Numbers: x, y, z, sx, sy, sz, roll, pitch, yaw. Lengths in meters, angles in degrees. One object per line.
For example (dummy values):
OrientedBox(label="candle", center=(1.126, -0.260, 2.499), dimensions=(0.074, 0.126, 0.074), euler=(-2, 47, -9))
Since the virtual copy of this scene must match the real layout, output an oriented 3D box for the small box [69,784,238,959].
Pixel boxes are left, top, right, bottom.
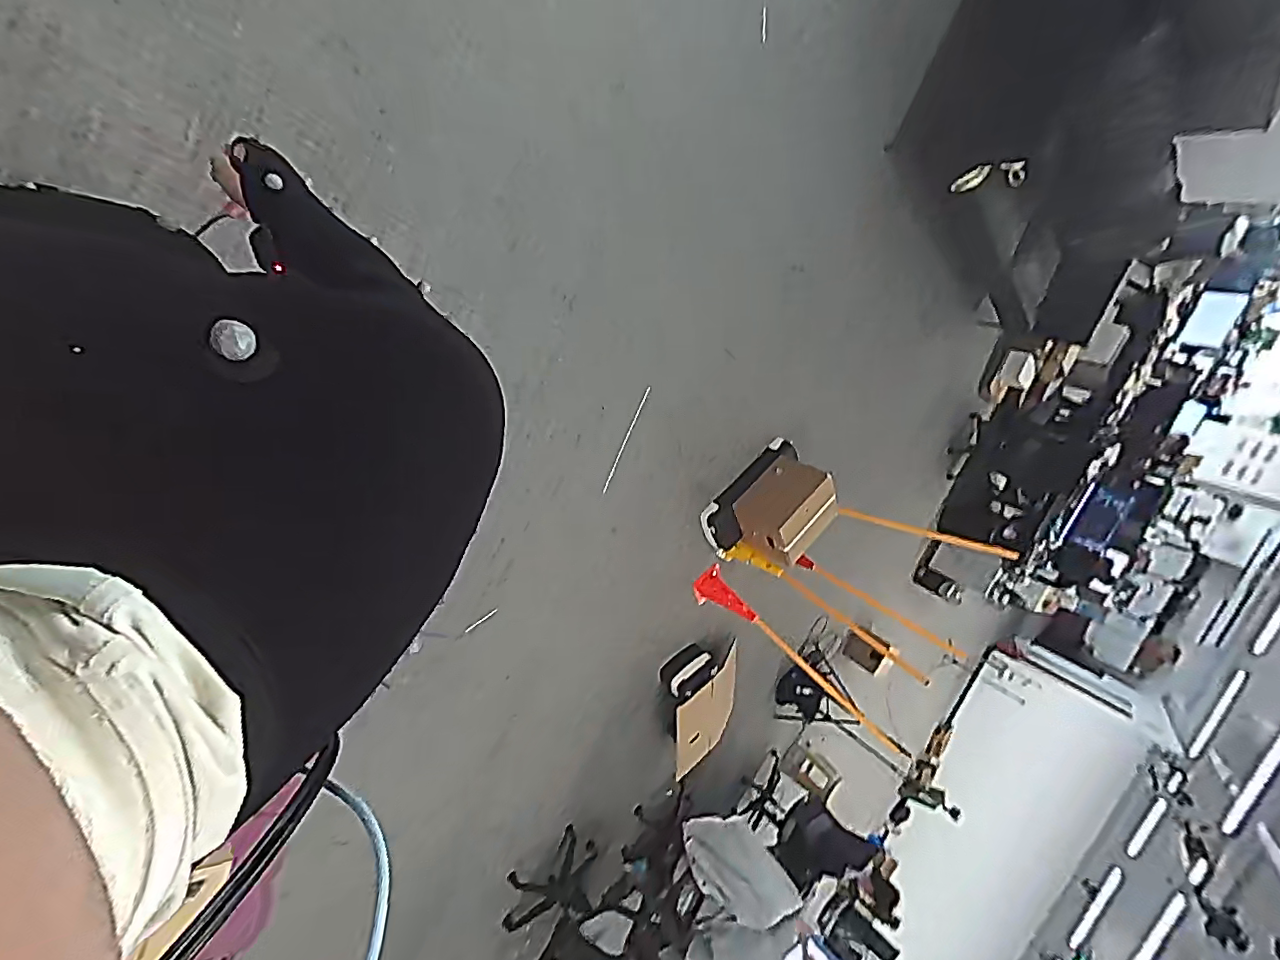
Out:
OrientedBox(label="small box", center=(-0.750, 0.605, 0.834), dimensions=(0.168, 0.176, 0.179), euler=(12, 105, -45))
